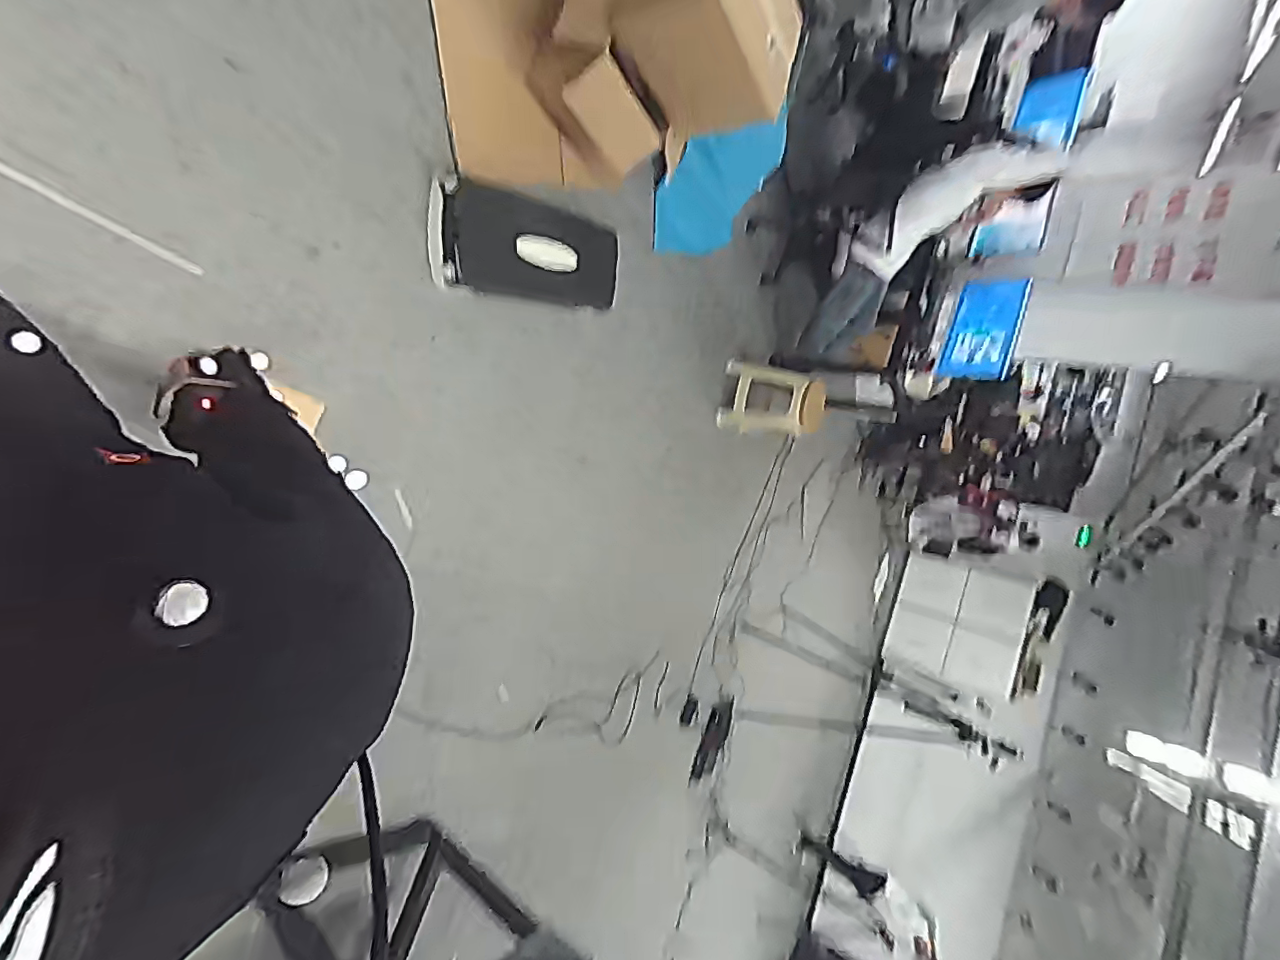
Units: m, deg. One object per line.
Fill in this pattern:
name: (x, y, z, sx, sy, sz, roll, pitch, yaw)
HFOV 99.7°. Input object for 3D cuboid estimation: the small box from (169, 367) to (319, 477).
small box: (-0.817, -0.123, 1.119, 0.179, 0.176, 0.168, 29, 78, -54)
